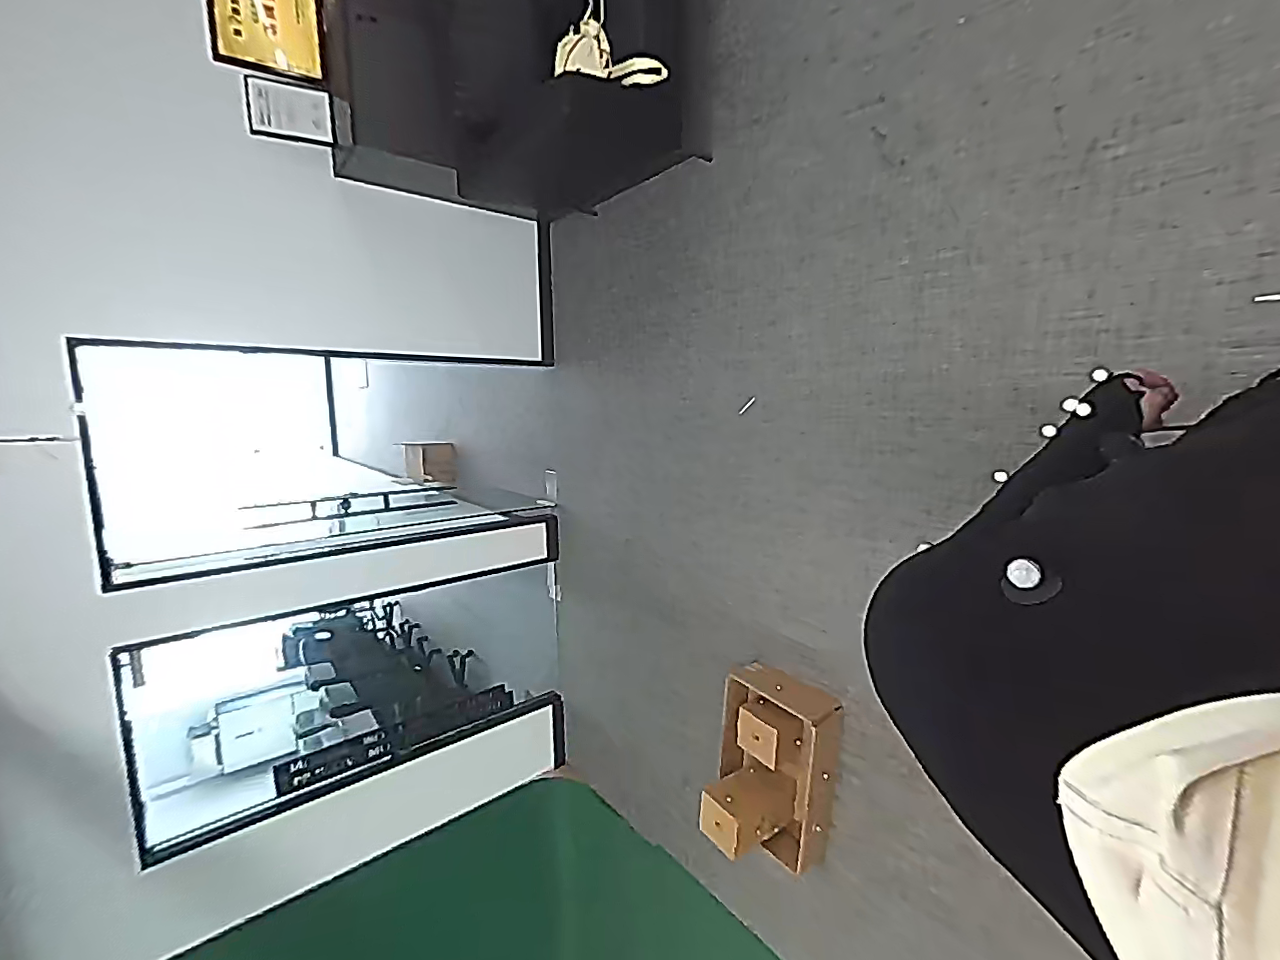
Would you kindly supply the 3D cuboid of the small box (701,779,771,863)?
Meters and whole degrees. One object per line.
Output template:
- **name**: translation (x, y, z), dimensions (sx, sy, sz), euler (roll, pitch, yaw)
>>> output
- **small box**: translation (0.345, 1.218, 1.954), dimensions (0.179, 0.176, 0.168), euler (16, 107, 50)

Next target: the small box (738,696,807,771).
- **small box**: translation (0.487, 0.924, 1.995), dimensions (0.179, 0.176, 0.168), euler (15, 108, 49)
